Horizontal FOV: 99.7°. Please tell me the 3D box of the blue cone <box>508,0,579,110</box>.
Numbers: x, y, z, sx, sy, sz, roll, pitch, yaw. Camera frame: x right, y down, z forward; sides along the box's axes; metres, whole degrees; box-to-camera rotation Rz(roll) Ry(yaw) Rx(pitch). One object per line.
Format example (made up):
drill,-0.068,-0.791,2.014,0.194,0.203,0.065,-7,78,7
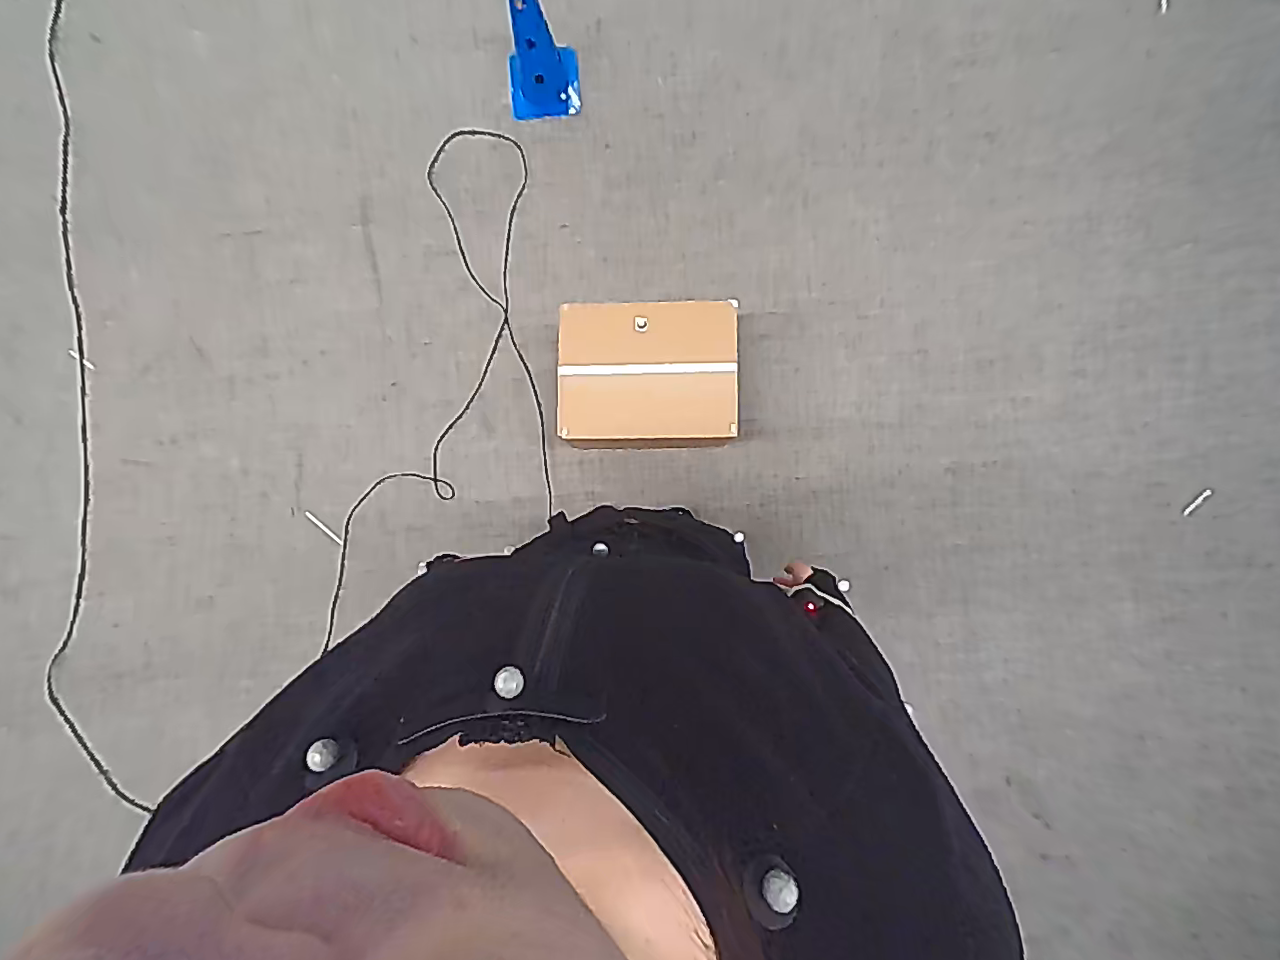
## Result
blue cone,-0.275,-1.150,1.361,0.193,0.380,0.192,-7,89,0
